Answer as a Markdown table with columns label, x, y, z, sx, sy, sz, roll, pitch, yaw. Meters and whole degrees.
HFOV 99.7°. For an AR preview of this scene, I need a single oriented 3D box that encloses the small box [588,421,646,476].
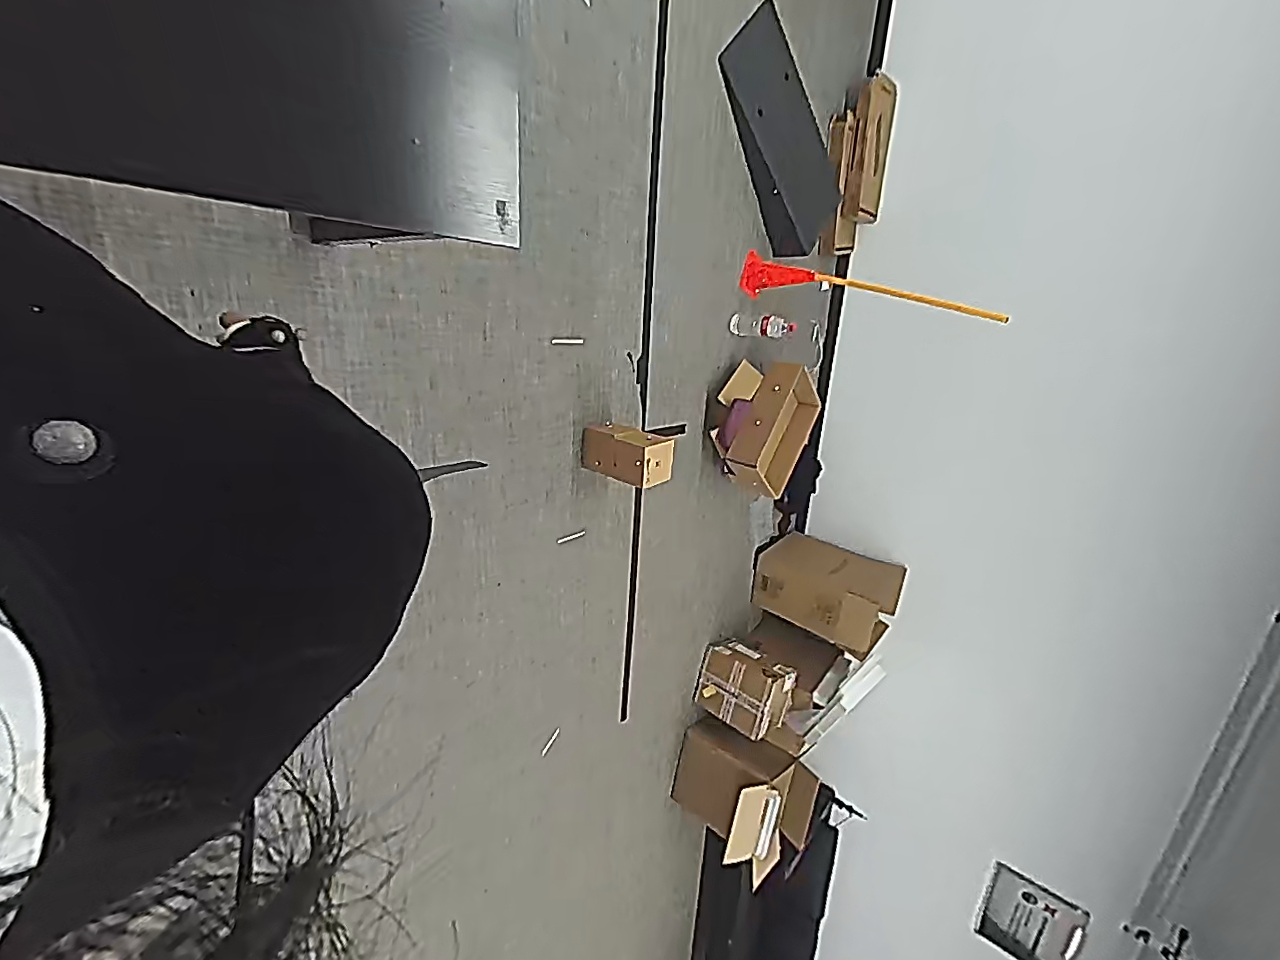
| label | x | y | z | sx | sy | sz | roll | pitch | yaw |
| --- | --- | --- | --- | --- | --- | --- | --- | --- | --- |
| small box | -0.097 | -0.131 | 2.182 | 0.168 | 0.176 | 0.179 | -17 | 116 | -47 |

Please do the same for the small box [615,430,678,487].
| label | x | y | z | sx | sy | sz | roll | pitch | yaw |
| --- | --- | --- | --- | --- | --- | --- | --- | --- | --- |
| small box | 0.025 | -0.089 | 2.081 | 0.179 | 0.176 | 0.168 | -20 | 119 | -47 |
